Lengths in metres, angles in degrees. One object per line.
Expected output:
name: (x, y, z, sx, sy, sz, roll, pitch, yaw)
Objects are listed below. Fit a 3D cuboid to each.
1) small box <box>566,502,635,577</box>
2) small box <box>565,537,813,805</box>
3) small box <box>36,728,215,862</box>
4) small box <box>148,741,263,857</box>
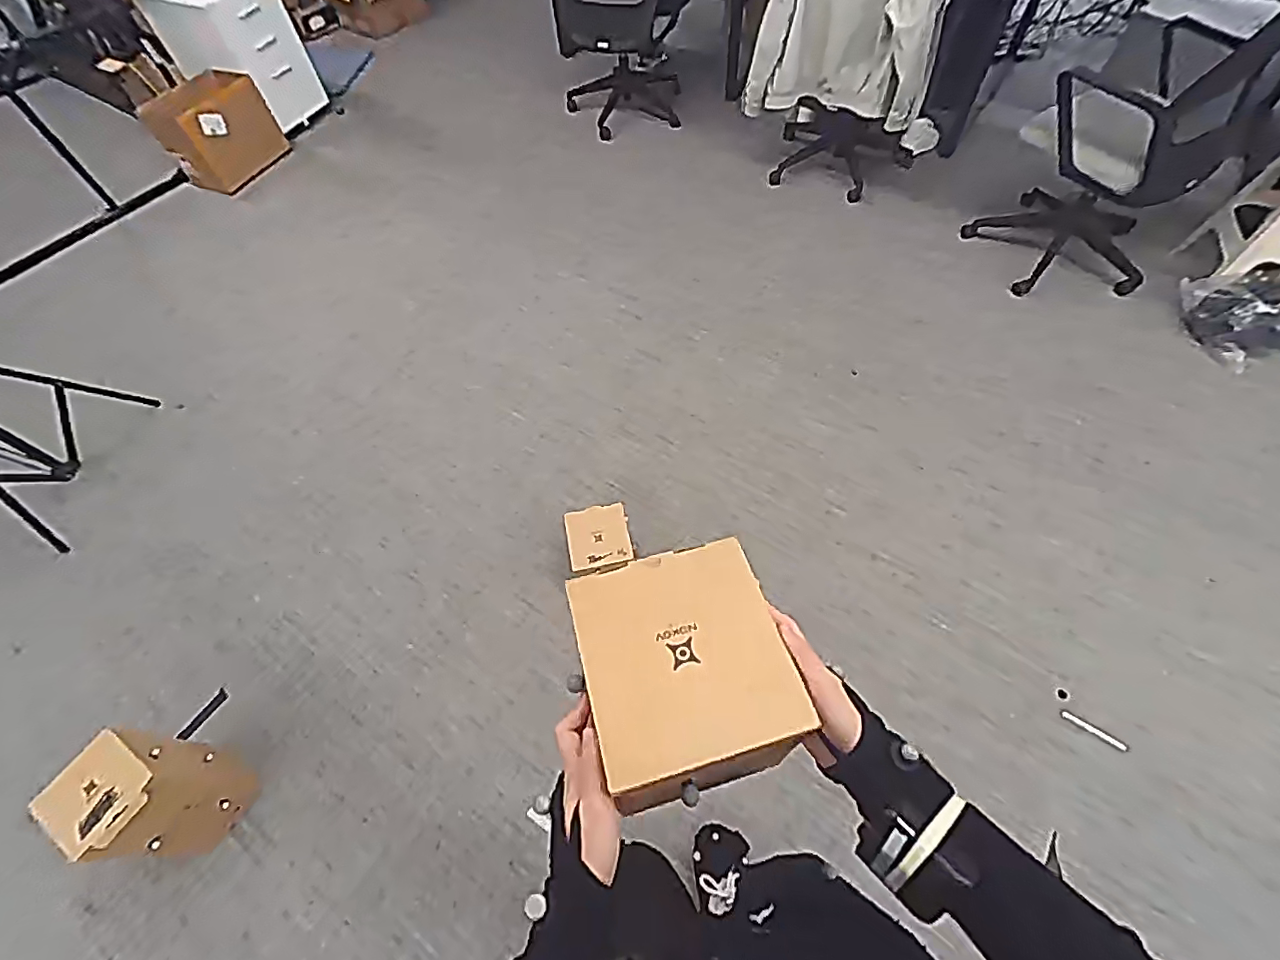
small box: (-0.107, 0.189, 1.513, 0.168, 0.176, 0.179, -11, 59, -4)
small box: (0.036, 0.185, 0.508, 0.168, 0.176, 0.179, -14, 53, -8)
small box: (-1.038, 0.639, 1.109, 0.179, 0.176, 0.168, 25, 63, 18)
small box: (-1.032, 0.729, 1.248, 0.179, 0.176, 0.168, 24, 63, 18)
